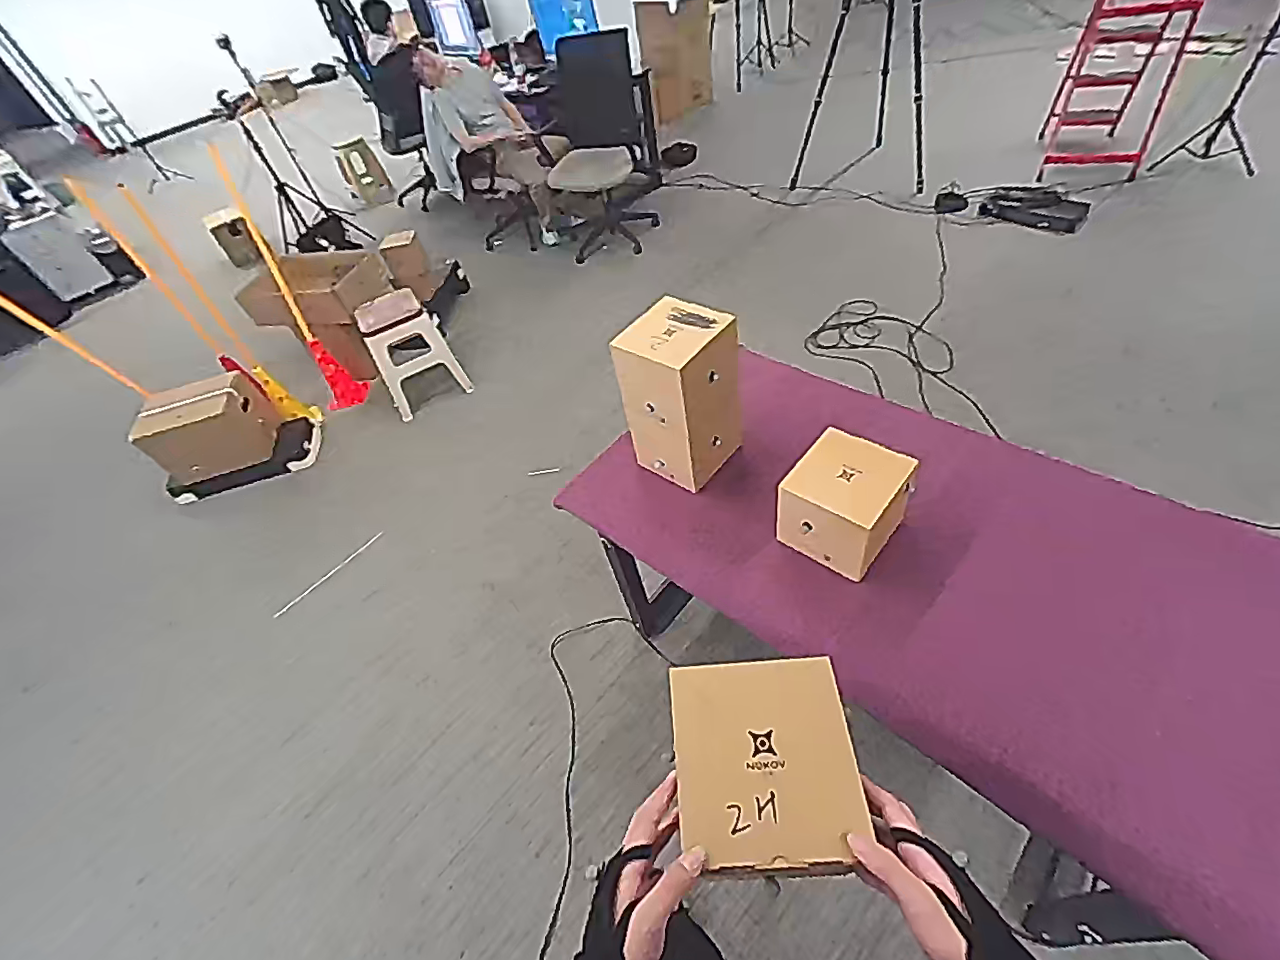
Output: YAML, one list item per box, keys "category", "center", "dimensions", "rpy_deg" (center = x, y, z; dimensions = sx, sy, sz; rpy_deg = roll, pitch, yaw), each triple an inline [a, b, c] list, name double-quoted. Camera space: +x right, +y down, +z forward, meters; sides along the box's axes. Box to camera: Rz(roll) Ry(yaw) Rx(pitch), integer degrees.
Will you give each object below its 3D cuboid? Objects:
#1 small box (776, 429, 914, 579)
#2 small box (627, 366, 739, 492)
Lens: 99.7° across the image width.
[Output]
- category: "small box"
  center: [0.362, 0.045, 0.975]
  dimensions: [0.168, 0.176, 0.179]
  rpy_deg: [29, 59, 32]
- category: "small box"
  center: [0.097, -0.109, 1.164]
  dimensions: [0.168, 0.176, 0.179]
  rpy_deg: [28, 60, 31]
